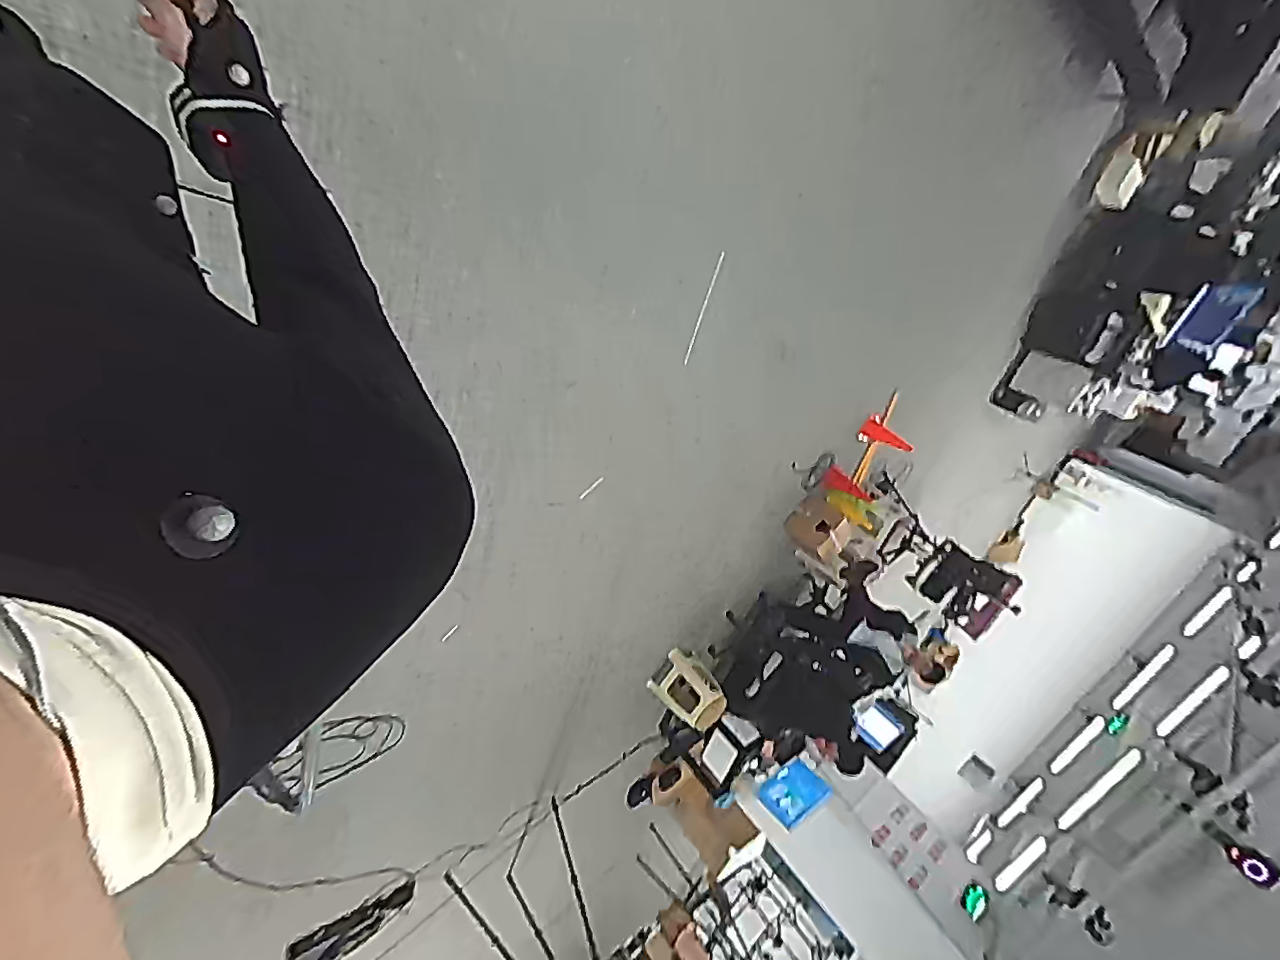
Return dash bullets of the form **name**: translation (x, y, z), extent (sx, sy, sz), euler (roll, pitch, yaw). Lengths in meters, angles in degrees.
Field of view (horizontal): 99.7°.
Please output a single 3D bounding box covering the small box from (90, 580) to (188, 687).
- **small box**: translation (-1.211, 0.357, 1.307), extent (0.168, 0.176, 0.179), euler (-2, 123, -44)
